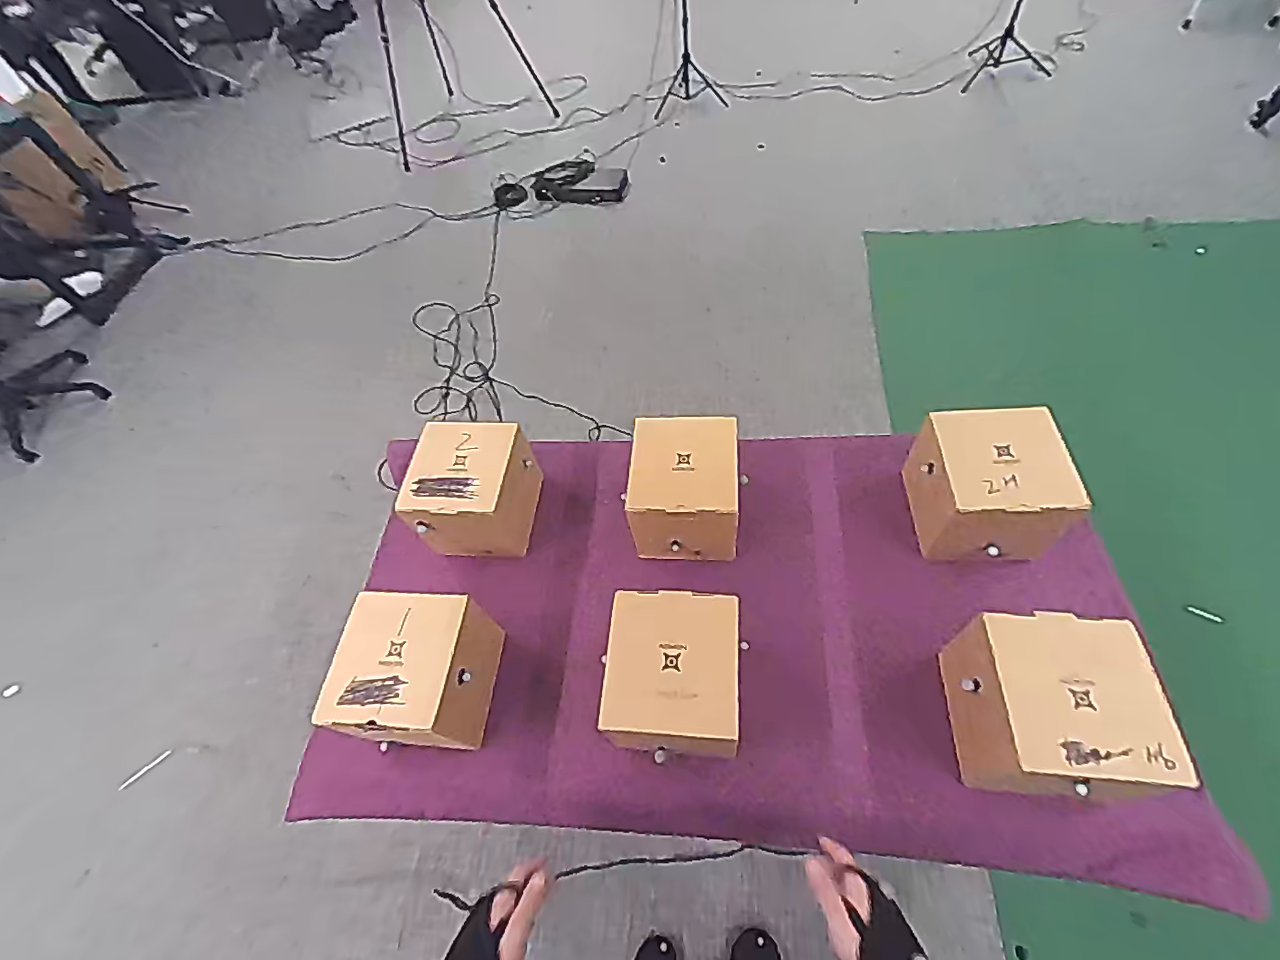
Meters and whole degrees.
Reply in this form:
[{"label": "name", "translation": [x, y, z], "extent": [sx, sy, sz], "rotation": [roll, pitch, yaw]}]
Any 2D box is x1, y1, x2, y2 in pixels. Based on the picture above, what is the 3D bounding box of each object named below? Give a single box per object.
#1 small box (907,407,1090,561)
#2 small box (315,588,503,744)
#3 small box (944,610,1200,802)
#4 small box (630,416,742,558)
[{"label": "small box", "translation": [0.530, 0.009, 0.834], "extent": [0.168, 0.176, 0.179], "rotation": [-2, 57, 10]}, {"label": "small box", "translation": [-0.311, 0.270, 0.774], "extent": [0.168, 0.176, 0.179], "rotation": [1, 56, 7]}, {"label": "small box", "translation": [0.498, 0.278, 0.664], "extent": [0.168, 0.176, 0.179], "rotation": [1, 55, 10]}, {"label": "small box", "translation": [0.079, 0.013, 0.895], "extent": [0.168, 0.176, 0.179], "rotation": [1, 59, 7]}]
